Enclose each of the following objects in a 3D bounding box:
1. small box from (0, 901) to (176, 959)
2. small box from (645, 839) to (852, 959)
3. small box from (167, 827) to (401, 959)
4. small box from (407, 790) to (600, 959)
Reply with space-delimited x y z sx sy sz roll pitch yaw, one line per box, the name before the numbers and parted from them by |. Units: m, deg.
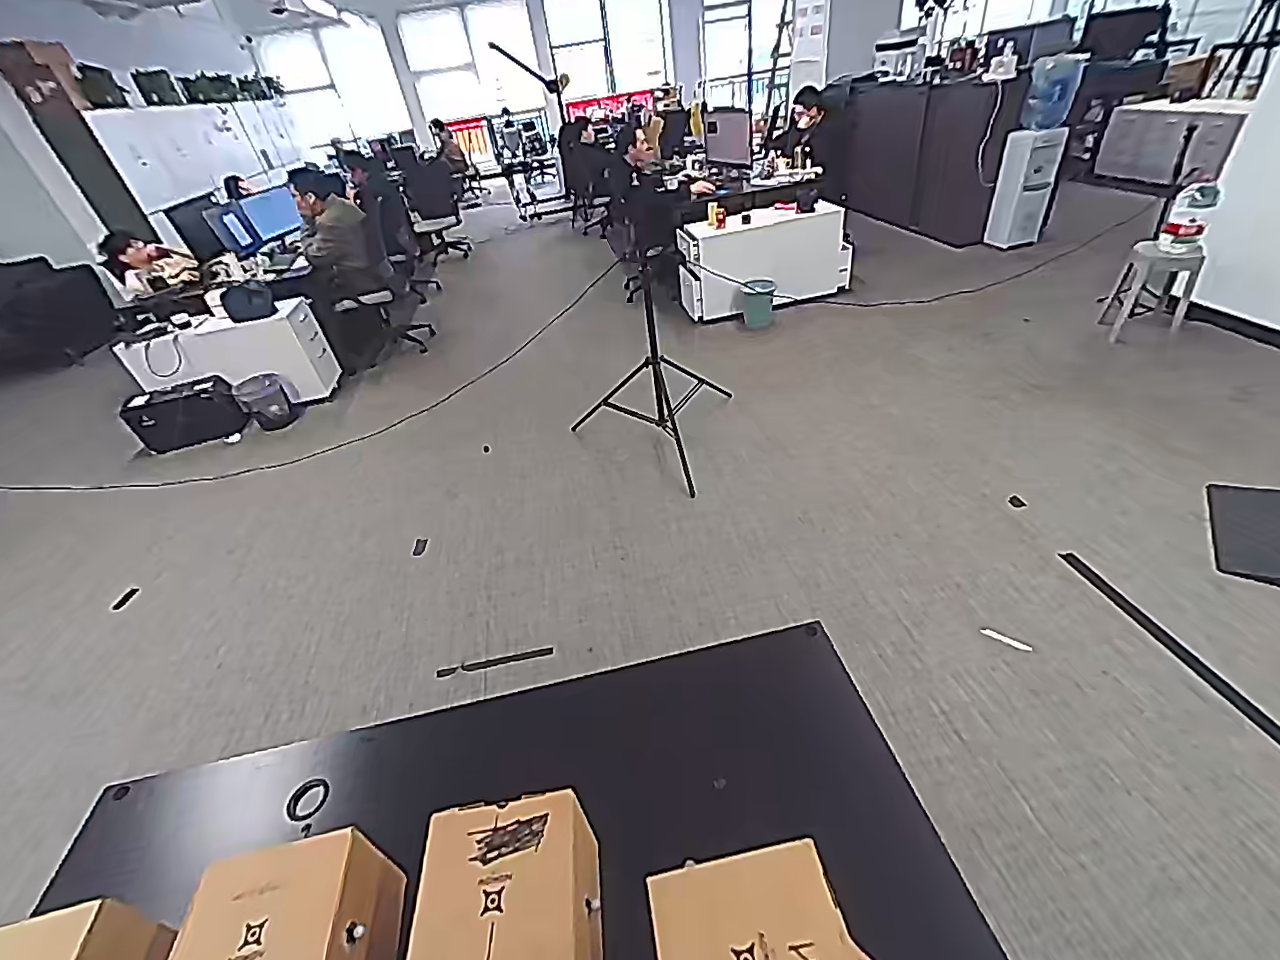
small box | -0.638 0.586 0.567 0.179 0.176 0.168 -12 37 -6
small box | 0.112 0.495 0.534 0.179 0.176 0.168 -11 37 -3
small box | -0.384 0.528 0.595 0.168 0.176 0.179 -12 36 -5
small box | -0.139 0.484 0.602 0.168 0.176 0.179 -9 38 -1
